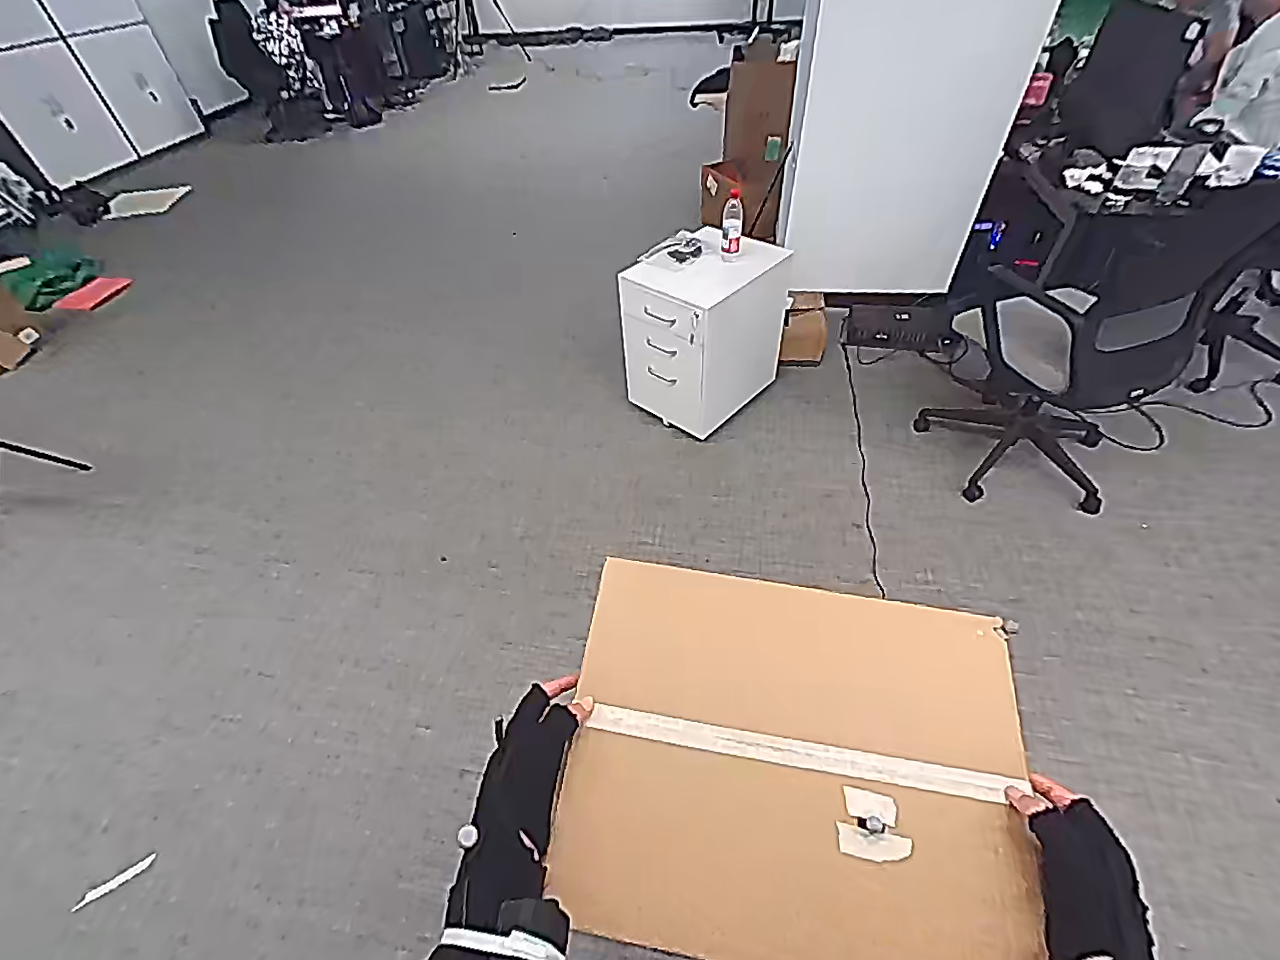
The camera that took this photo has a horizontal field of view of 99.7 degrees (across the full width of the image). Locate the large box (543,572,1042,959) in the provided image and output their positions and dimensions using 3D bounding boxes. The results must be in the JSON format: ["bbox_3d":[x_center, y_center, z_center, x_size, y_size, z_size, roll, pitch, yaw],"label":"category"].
[{"bbox_3d":[0.139,0.330,0.626,0.408,0.320,0.320,8,61,6],"label":"large box"}]
